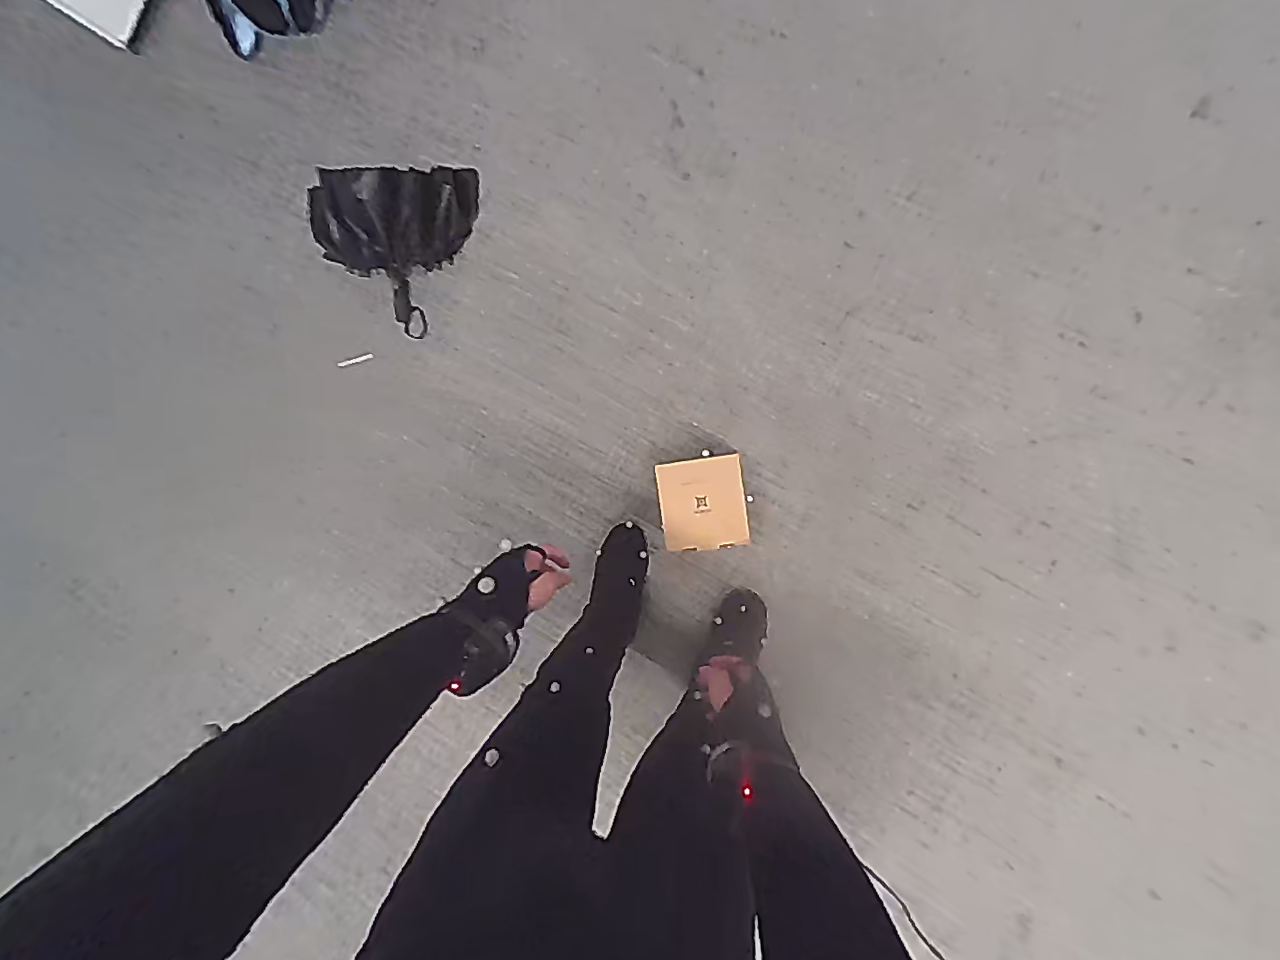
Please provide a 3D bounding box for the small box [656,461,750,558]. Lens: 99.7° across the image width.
[{"bbox_3d":[0.138,0.056,1.131,0.168,0.176,0.179,-9,89,11],"label":"small box"}]
